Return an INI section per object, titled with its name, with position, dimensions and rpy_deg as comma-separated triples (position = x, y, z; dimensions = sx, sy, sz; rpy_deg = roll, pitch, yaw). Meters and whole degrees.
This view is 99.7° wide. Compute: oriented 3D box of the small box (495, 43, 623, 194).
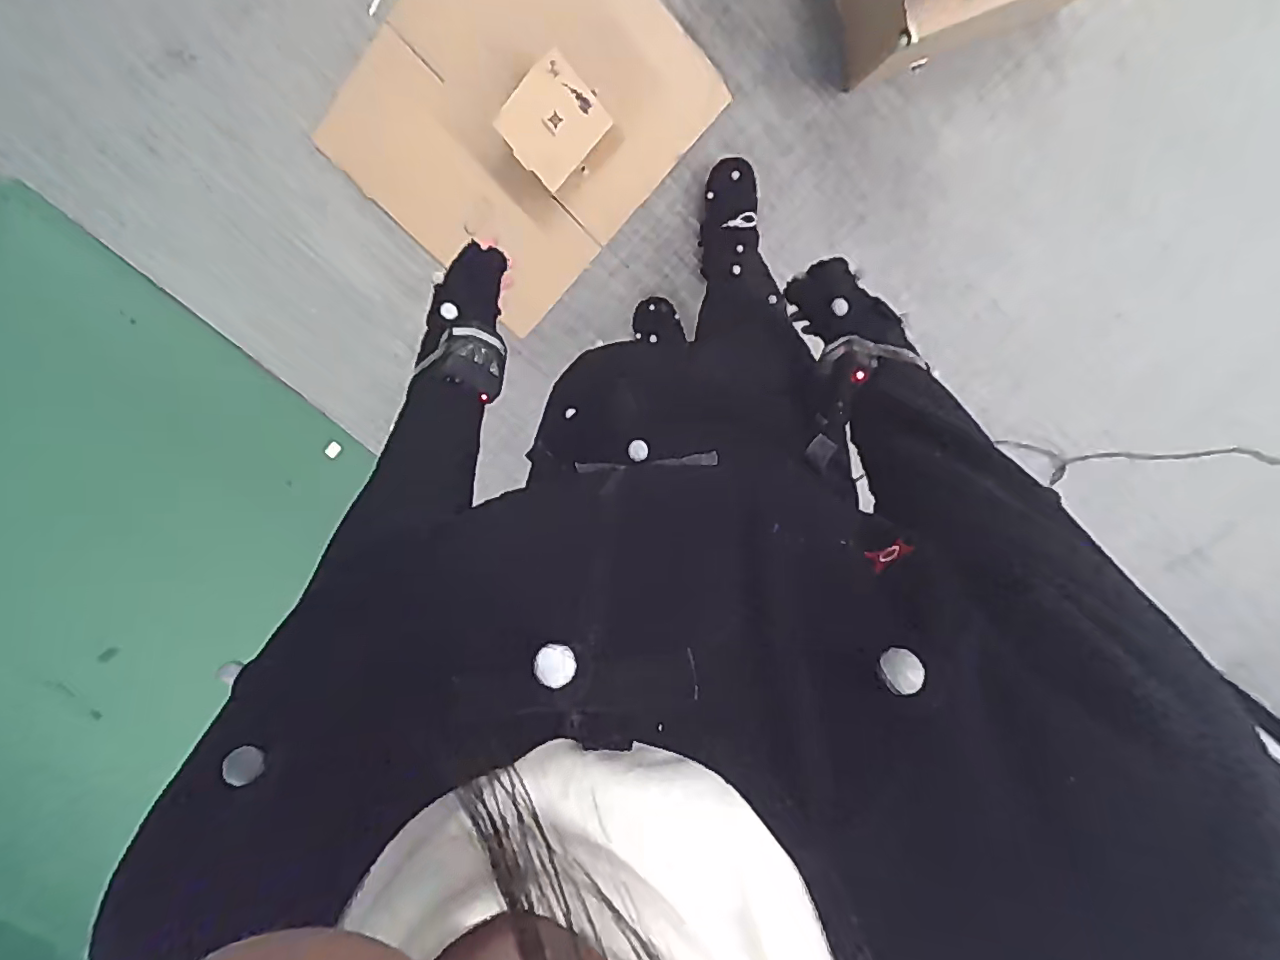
[small box]
position = -0.152, -0.705, 1.083
dimensions = 0.168, 0.176, 0.179
rpy_deg = 43, 111, -11
